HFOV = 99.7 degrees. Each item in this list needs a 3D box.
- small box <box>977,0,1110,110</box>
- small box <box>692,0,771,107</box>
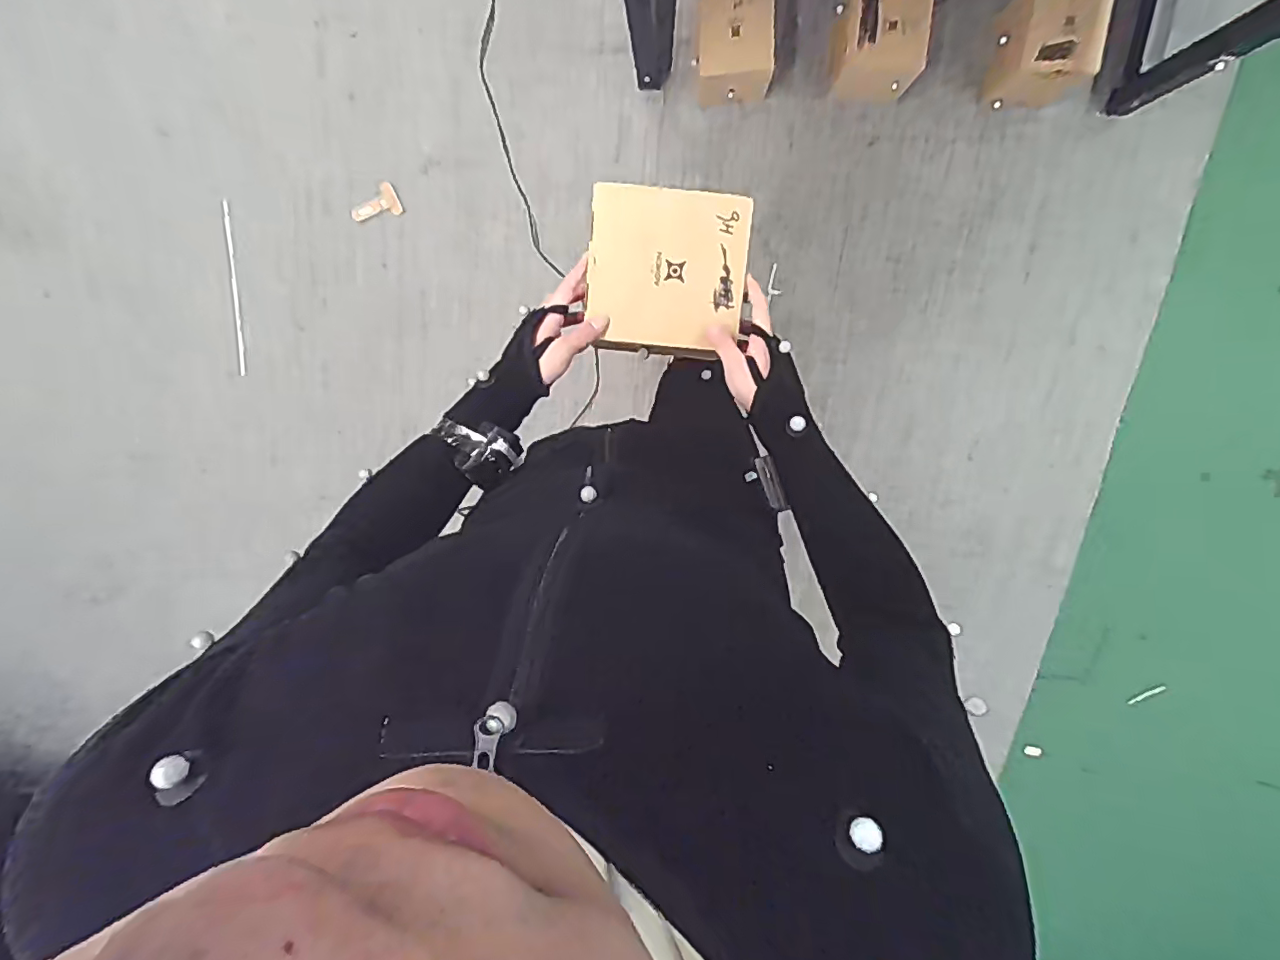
[{"bbox_3d":[0.891,-0.959,1.211,0.168,0.176,0.179,3,104,3],"label":"small box"},{"bbox_3d":[0.206,-0.991,1.248,0.168,0.176,0.179,-3,104,4],"label":"small box"}]
